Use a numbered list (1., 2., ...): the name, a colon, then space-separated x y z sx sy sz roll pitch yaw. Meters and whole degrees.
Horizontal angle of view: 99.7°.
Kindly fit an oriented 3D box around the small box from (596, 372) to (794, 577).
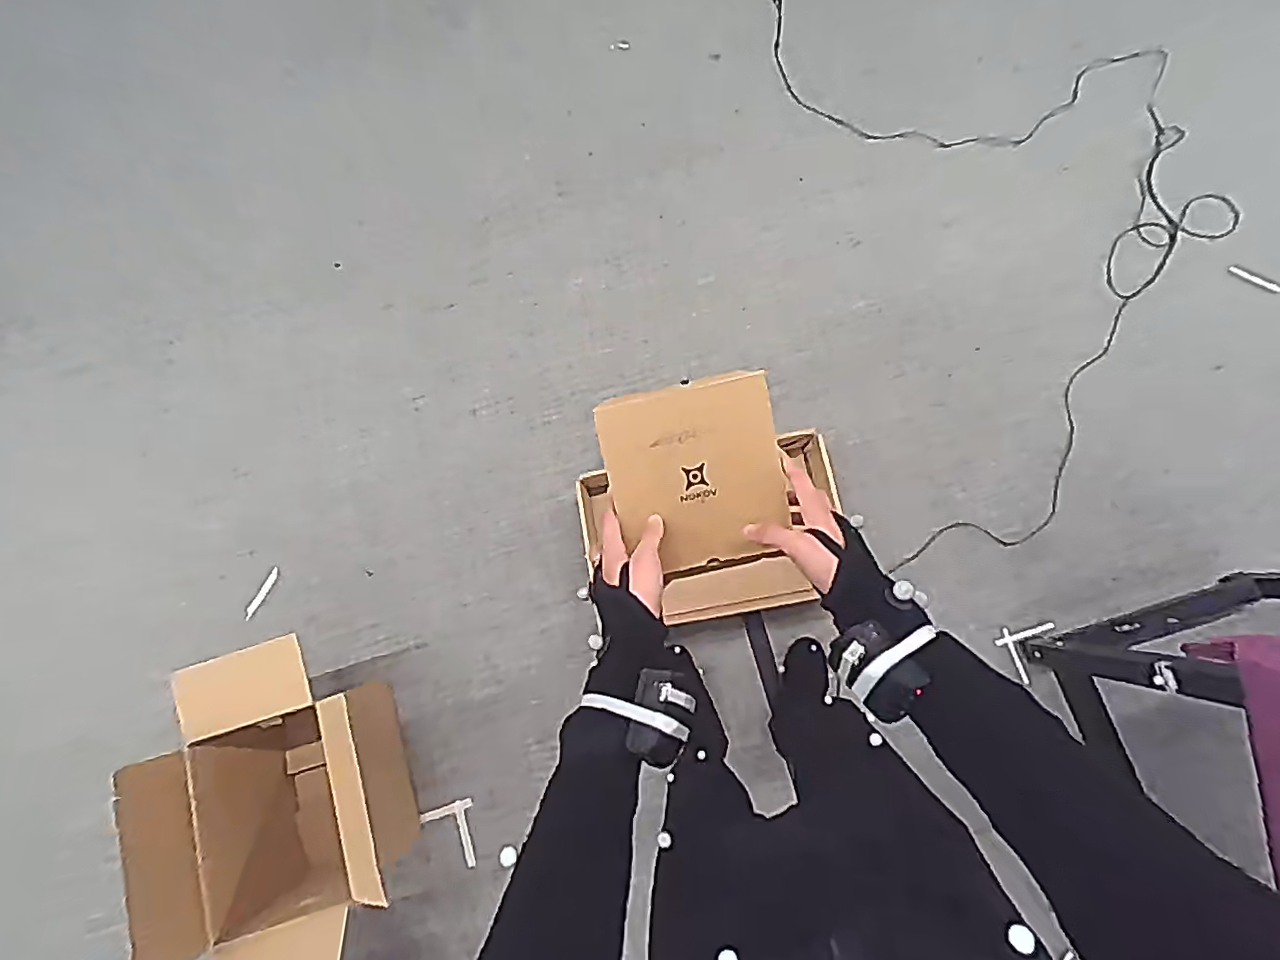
1. small box: 0.056 -0.017 0.594 0.168 0.176 0.179 -12 101 2
